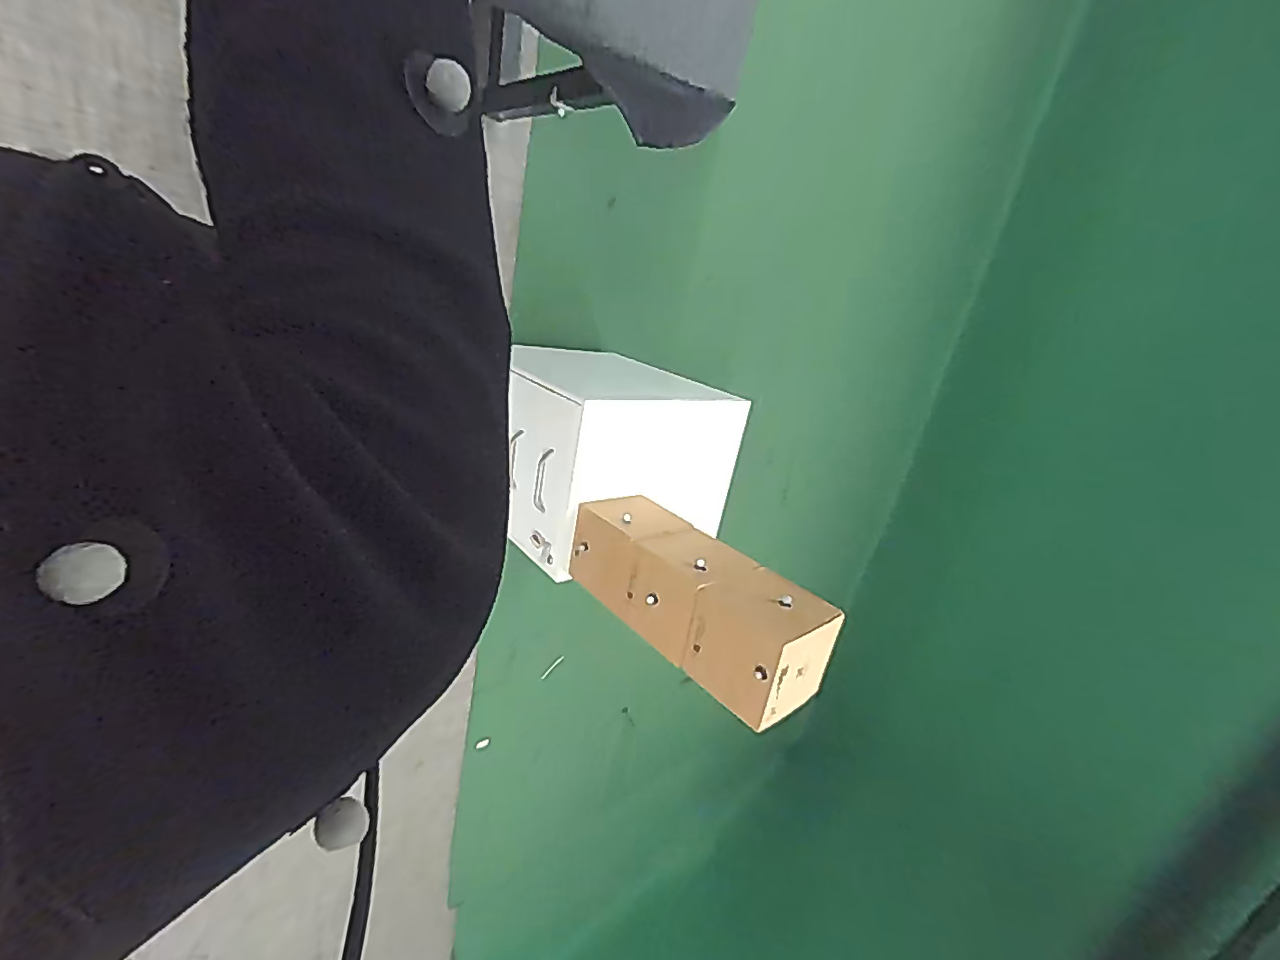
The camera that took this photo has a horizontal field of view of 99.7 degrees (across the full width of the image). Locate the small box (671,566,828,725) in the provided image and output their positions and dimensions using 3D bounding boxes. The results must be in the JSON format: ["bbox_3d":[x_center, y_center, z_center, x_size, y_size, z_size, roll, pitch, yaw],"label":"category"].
[{"bbox_3d":[0.181,0.264,0.912,0.179,0.176,0.168,-10,118,-43],"label":"small box"}]

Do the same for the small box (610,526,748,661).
[{"bbox_3d":[0.067,0.201,1.012,0.179,0.176,0.168,-6,116,-44],"label":"small box"}]
